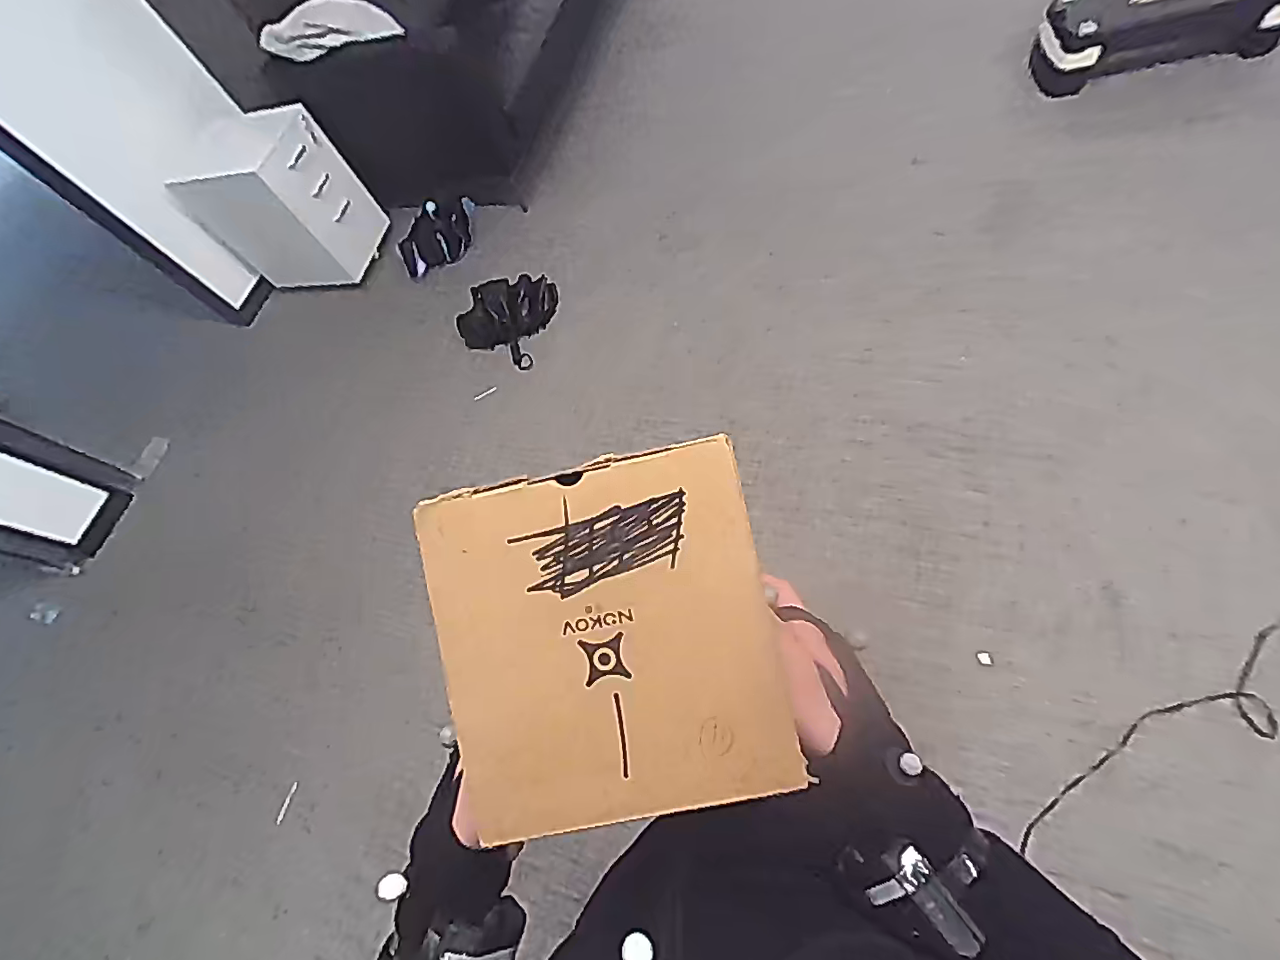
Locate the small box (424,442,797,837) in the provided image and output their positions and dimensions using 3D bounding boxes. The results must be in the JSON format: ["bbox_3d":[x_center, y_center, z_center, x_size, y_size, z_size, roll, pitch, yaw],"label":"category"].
[{"bbox_3d":[-0.013,0.084,0.354,0.168,0.176,0.179,-12,87,3],"label":"small box"}]
